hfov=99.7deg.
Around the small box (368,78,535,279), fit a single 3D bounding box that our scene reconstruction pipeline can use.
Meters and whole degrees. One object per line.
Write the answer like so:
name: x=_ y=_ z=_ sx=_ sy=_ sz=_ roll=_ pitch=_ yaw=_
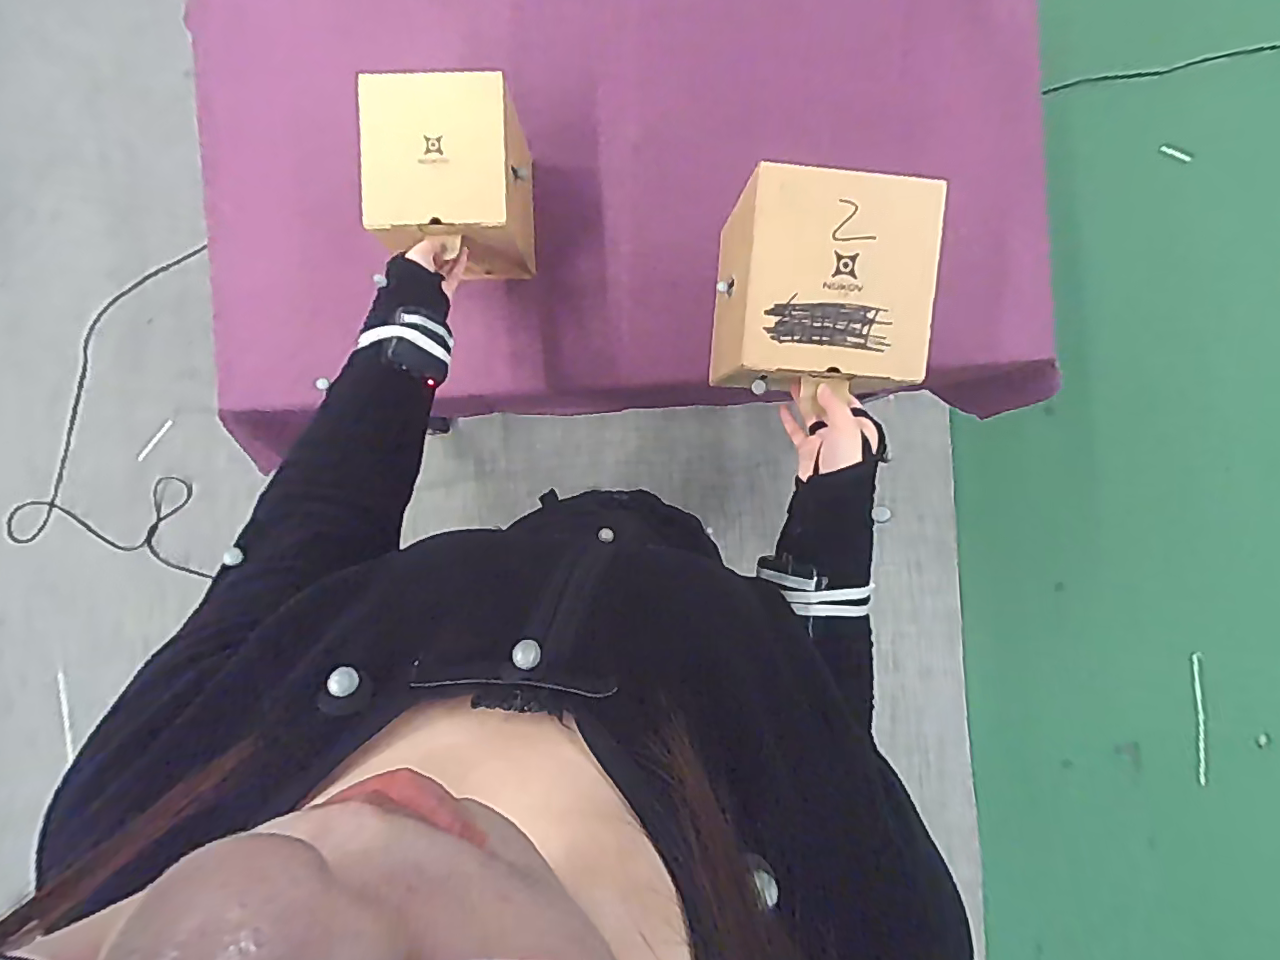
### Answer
small box: x=-0.235 y=-0.382 z=0.709 sx=0.168 sy=0.176 sz=0.179 roll=-1 pitch=91 yaw=-1
